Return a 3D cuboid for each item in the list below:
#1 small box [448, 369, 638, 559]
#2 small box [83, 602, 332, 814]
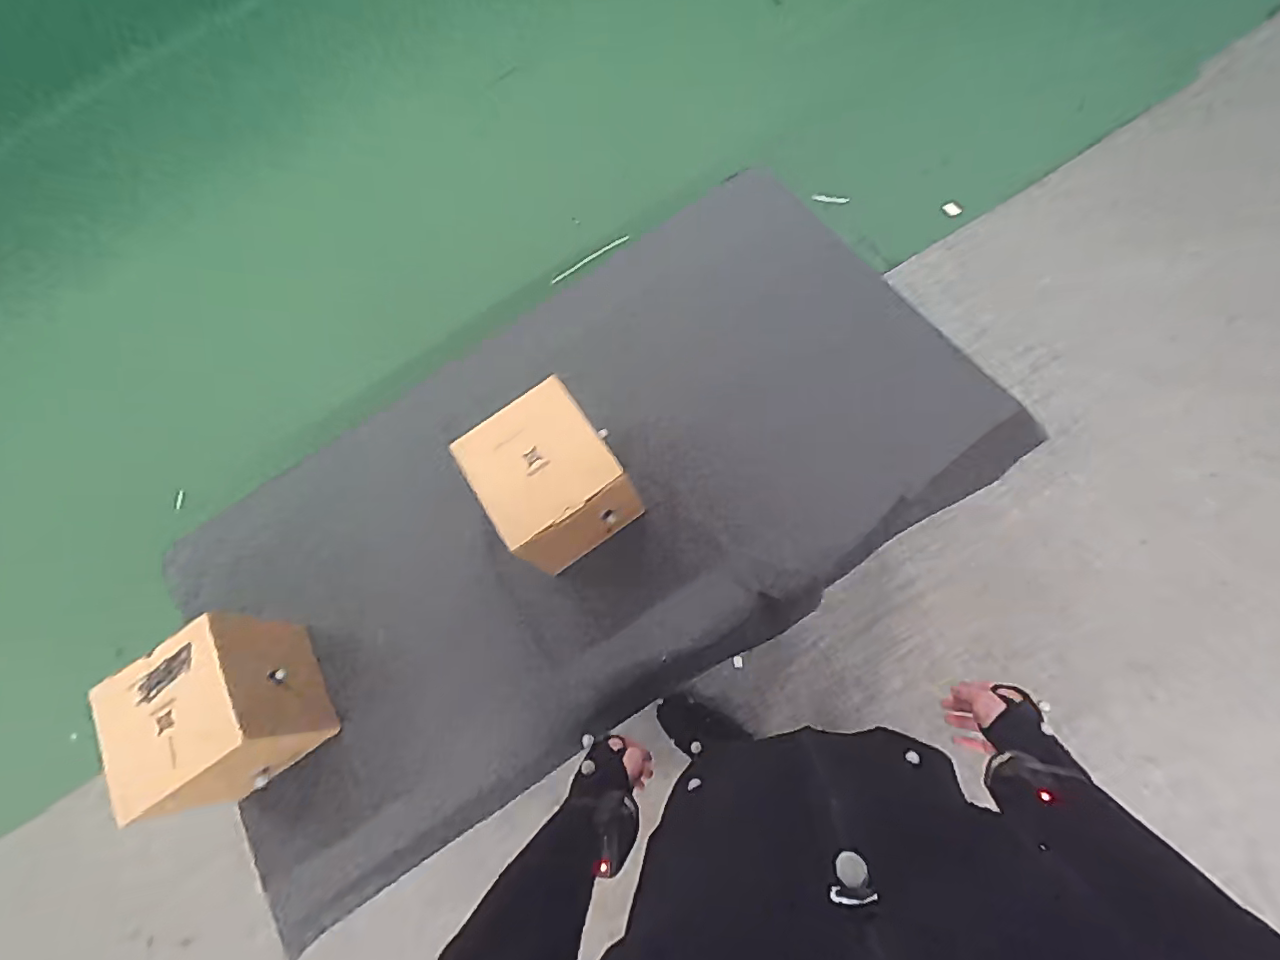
[{"bbox_3d":[-0.119,-0.009,0.735,0.168,0.176,0.179,-35,68,-5],"label":"small box"},{"bbox_3d":[-0.544,0.285,0.699,0.168,0.176,0.179,-34,69,-4],"label":"small box"}]
